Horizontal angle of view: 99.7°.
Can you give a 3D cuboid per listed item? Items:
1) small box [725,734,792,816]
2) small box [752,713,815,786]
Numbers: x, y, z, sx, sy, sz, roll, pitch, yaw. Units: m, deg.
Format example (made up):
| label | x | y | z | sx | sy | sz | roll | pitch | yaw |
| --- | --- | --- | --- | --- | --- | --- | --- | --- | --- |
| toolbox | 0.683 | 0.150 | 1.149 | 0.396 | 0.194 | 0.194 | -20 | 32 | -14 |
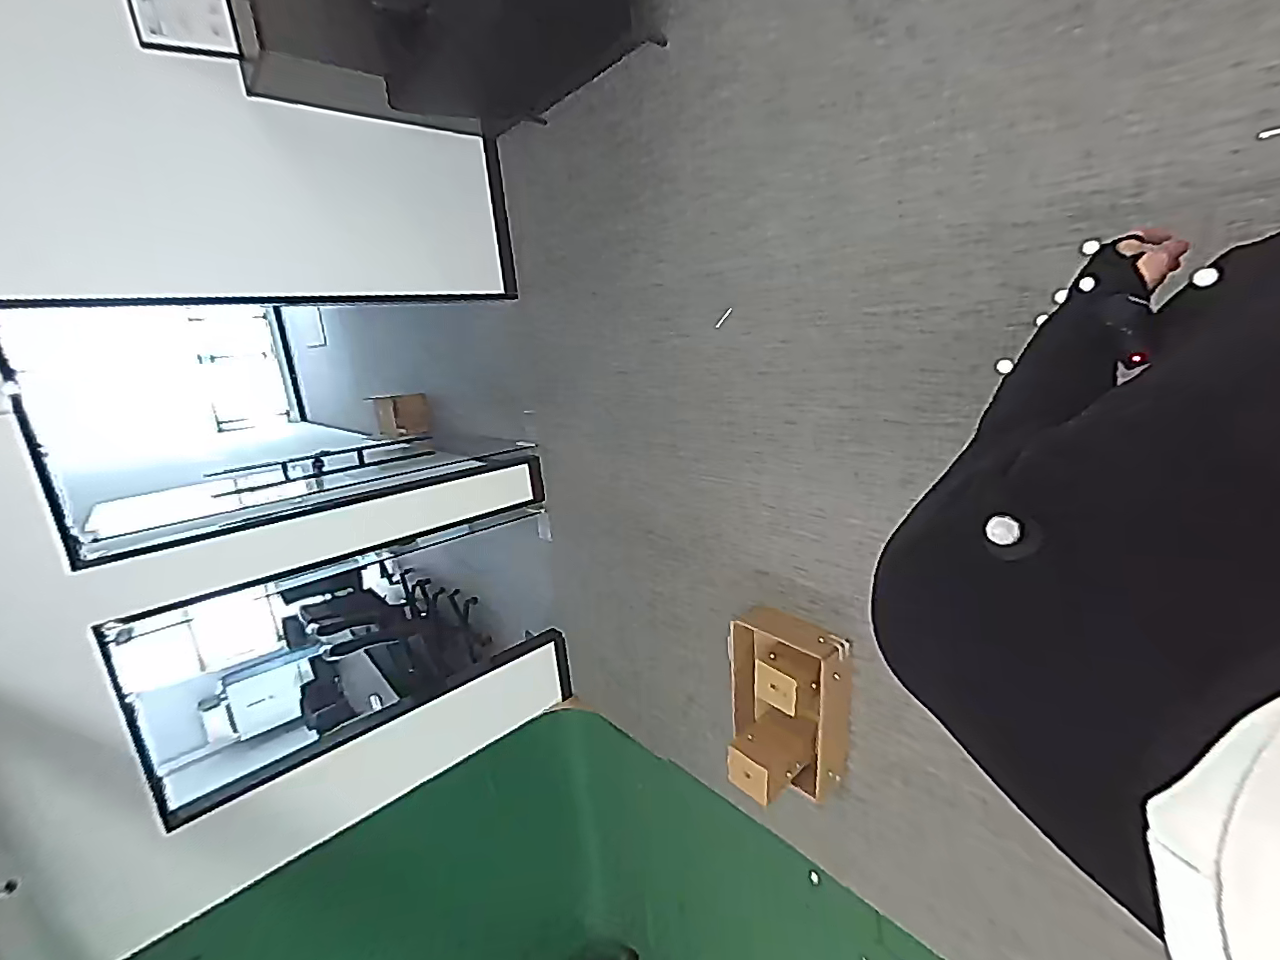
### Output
| label | x | y | z | sx | sy | sz | roll | pitch | yaw |
| --- | --- | --- | --- | --- | --- | --- | --- | --- | --- |
| small box | 0.432 | 1.069 | 1.981 | 0.179 | 0.176 | 0.168 | 15 | 113 | 45 |
| small box | 0.550 | 1.034 | 2.087 | 0.179 | 0.176 | 0.168 | 16 | 114 | 46 |
